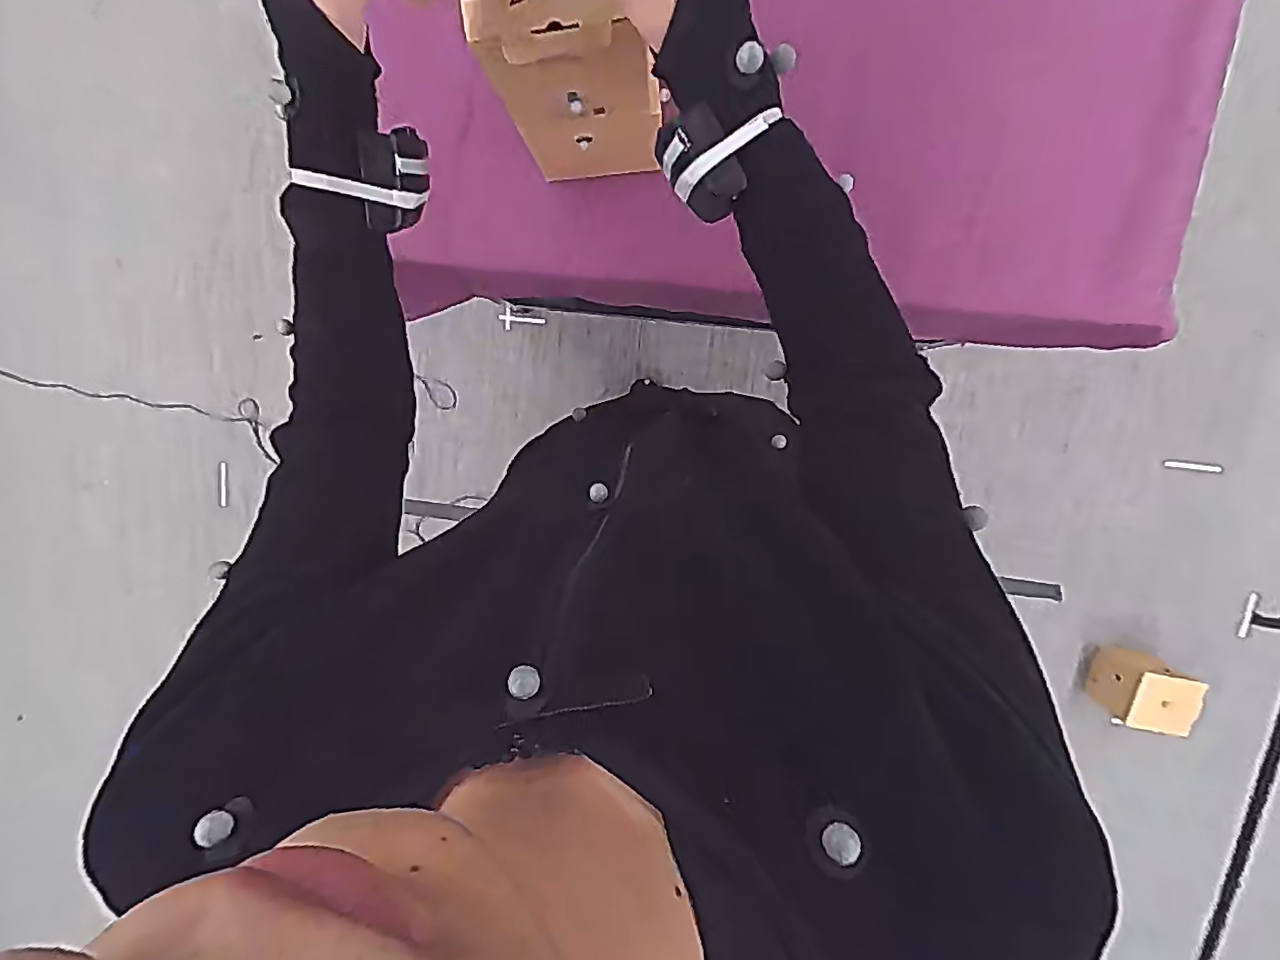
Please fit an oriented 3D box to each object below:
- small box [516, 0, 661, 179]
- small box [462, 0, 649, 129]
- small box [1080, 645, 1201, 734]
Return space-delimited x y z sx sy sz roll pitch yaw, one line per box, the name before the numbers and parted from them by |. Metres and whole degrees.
small box | -0.064 -0.521 0.716 0.179 0.176 0.168 -4 100 3
small box | -0.080 -0.500 0.553 0.168 0.176 0.179 -5 99 4
small box | 1.439 0.599 1.569 0.179 0.176 0.168 10 100 1
